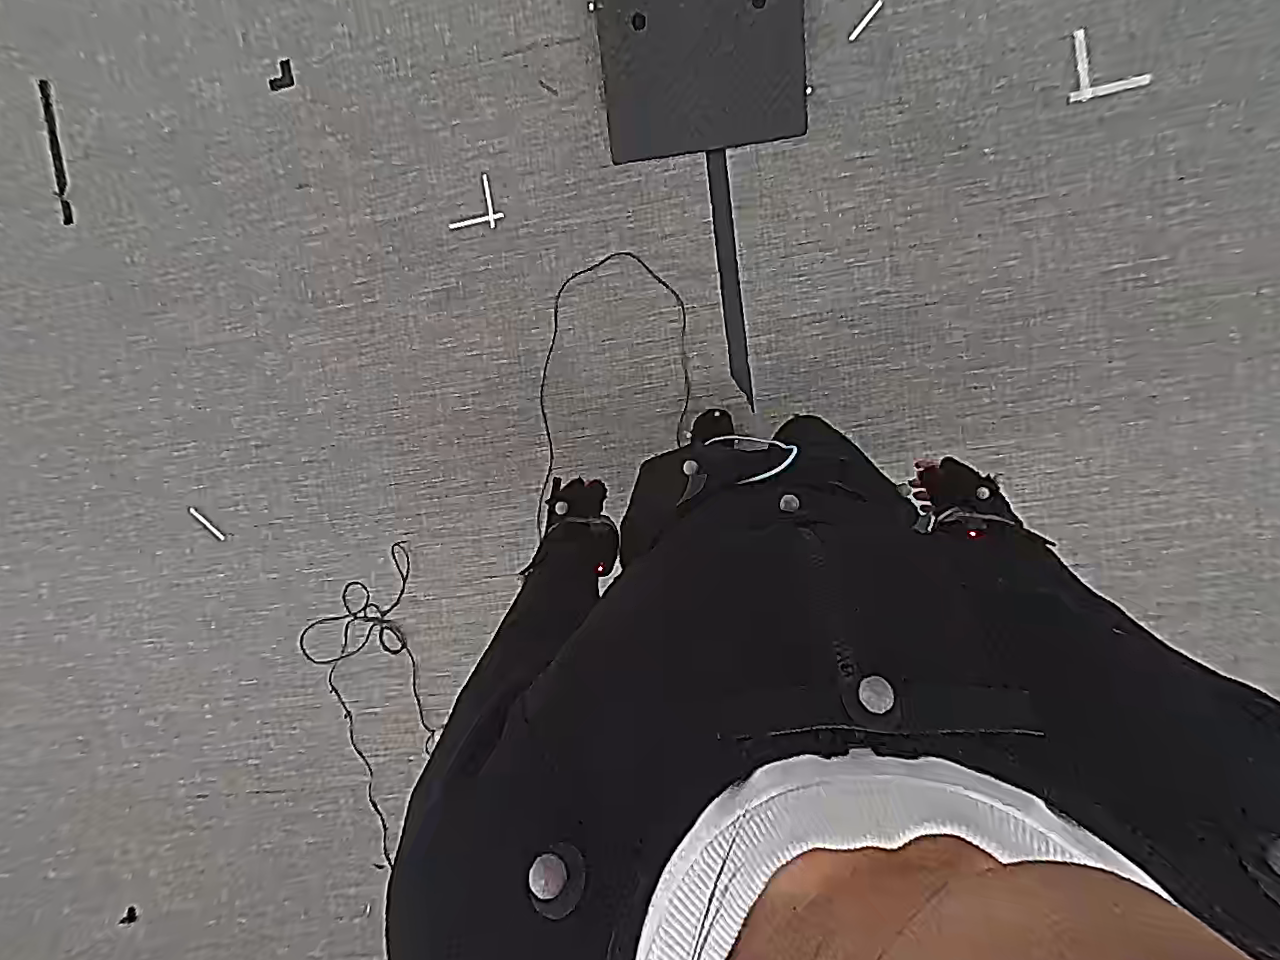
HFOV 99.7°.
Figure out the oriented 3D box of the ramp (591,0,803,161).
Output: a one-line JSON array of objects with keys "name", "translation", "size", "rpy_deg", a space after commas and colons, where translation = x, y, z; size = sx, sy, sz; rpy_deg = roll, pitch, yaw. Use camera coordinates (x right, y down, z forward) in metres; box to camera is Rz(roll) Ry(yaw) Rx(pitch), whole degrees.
[{"name": "ramp", "translation": [0.108, -1.318, 1.232], "size": [0.509, 0.206, 0.991], "rpy_deg": [-7, 95, 6]}]
